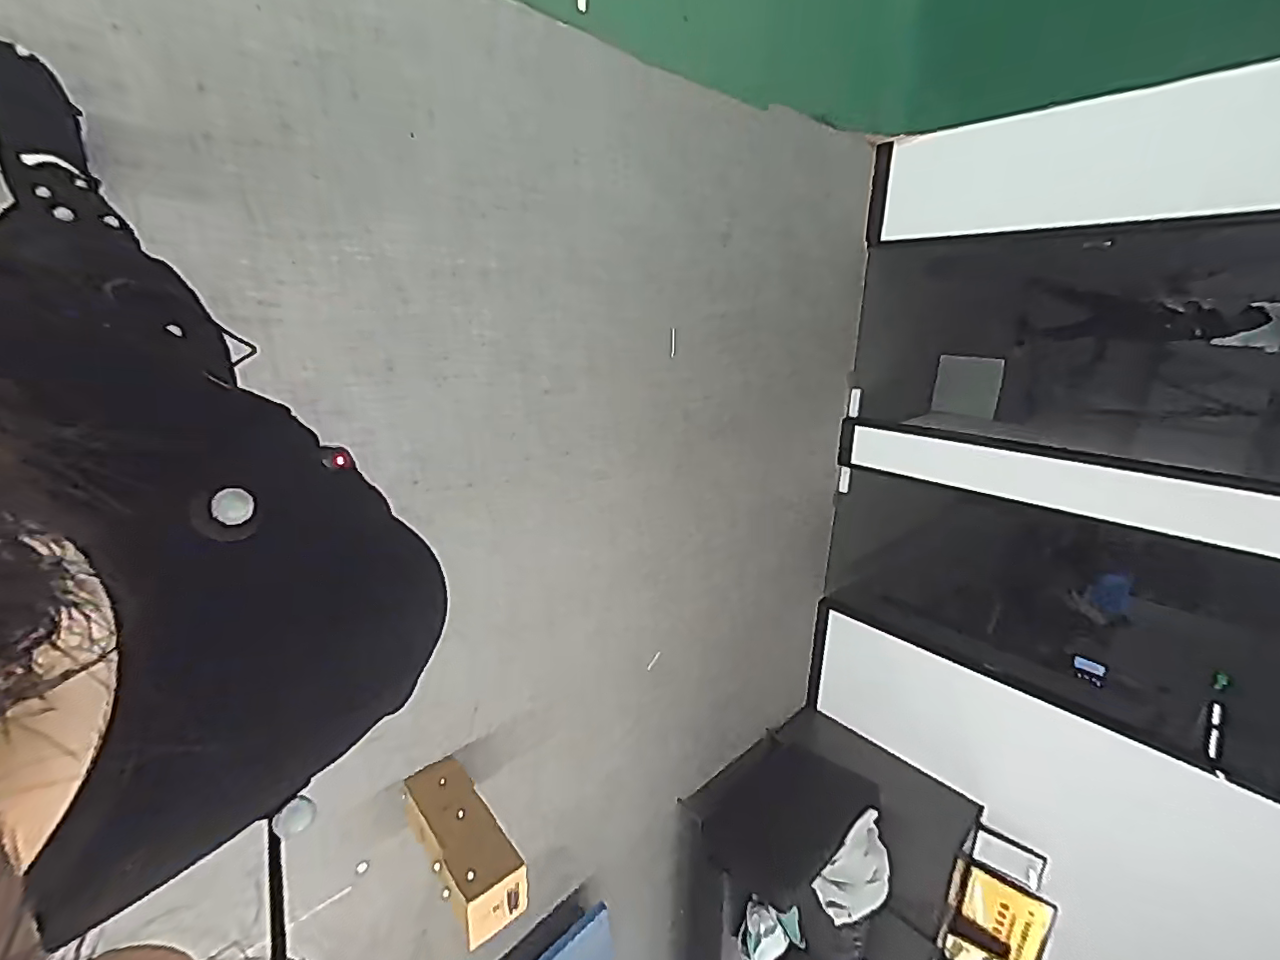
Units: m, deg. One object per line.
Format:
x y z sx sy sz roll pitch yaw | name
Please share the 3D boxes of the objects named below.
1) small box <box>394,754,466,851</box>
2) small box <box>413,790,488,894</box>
-0.684 1.039 1.758 0.179 0.176 0.168 -13 113 -42 | small box
-0.577 1.083 1.641 0.168 0.176 0.179 -12 113 -41 | small box
